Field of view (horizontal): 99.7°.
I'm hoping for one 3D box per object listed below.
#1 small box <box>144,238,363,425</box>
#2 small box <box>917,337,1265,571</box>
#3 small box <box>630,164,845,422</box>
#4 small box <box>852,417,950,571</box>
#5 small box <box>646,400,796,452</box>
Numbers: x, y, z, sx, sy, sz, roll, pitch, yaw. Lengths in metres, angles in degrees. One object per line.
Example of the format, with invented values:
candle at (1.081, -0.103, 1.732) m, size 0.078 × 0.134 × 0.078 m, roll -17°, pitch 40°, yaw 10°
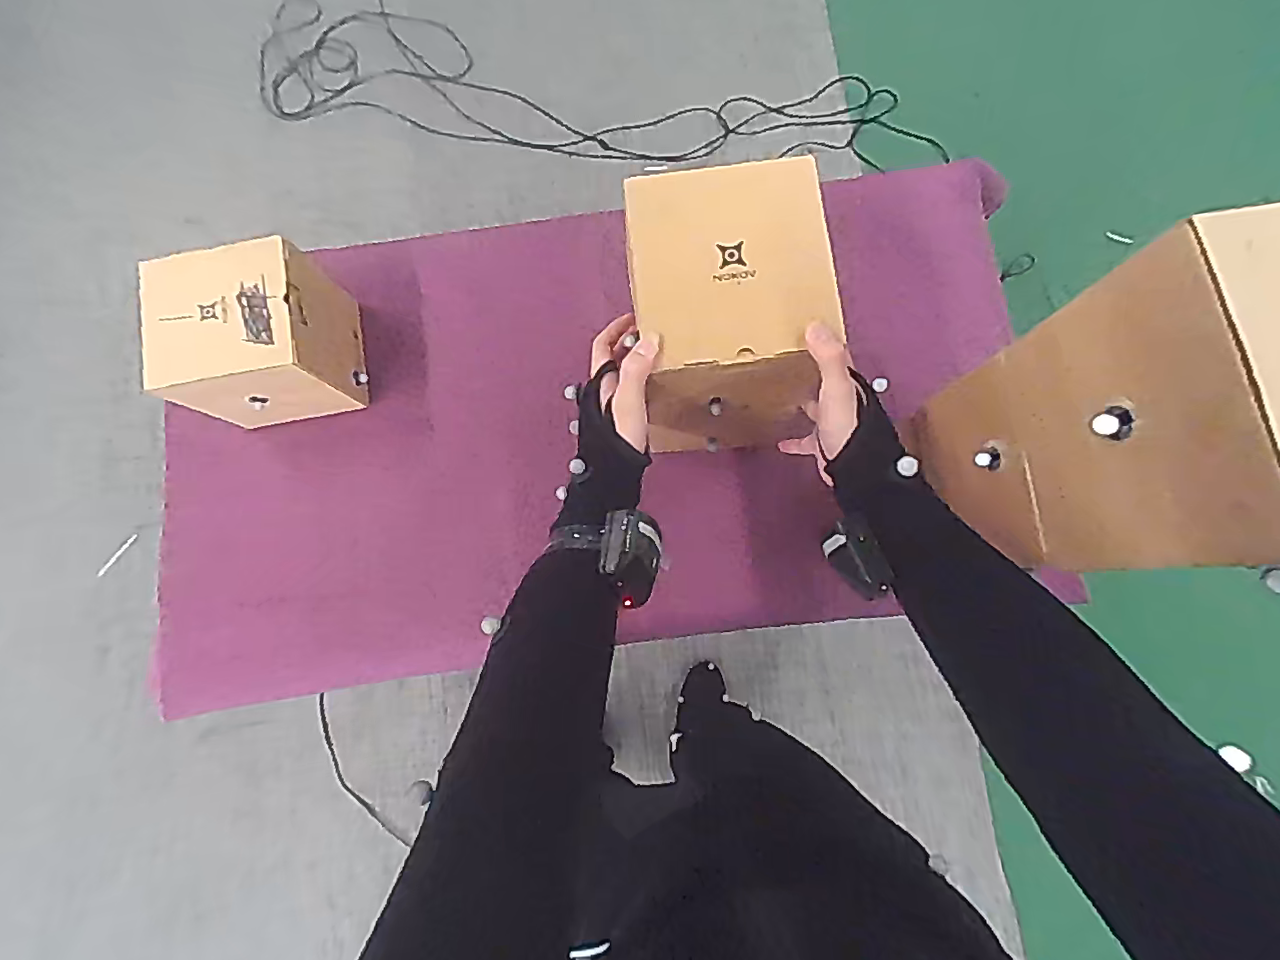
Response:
small box at (-0.485, -0.182, 0.706) m, size 0.179 × 0.176 × 0.168 m, roll -10°, pitch 80°, yaw 0°
small box at (0.377, -0.010, 0.493) m, size 0.168 × 0.176 × 0.179 m, roll -3°, pitch 80°, yaw 3°
small box at (0.079, -0.168, 0.531) m, size 0.168 × 0.176 × 0.179 m, roll -6°, pitch 82°, yaw 0°
small box at (0.380, 0.023, 0.653) m, size 0.179 × 0.176 × 0.168 m, roll -3°, pitch 79°, yaw 1°
small box at (0.089, -0.142, 0.689) m, size 0.168 × 0.176 × 0.179 m, roll -3°, pitch 80°, yaw 1°
